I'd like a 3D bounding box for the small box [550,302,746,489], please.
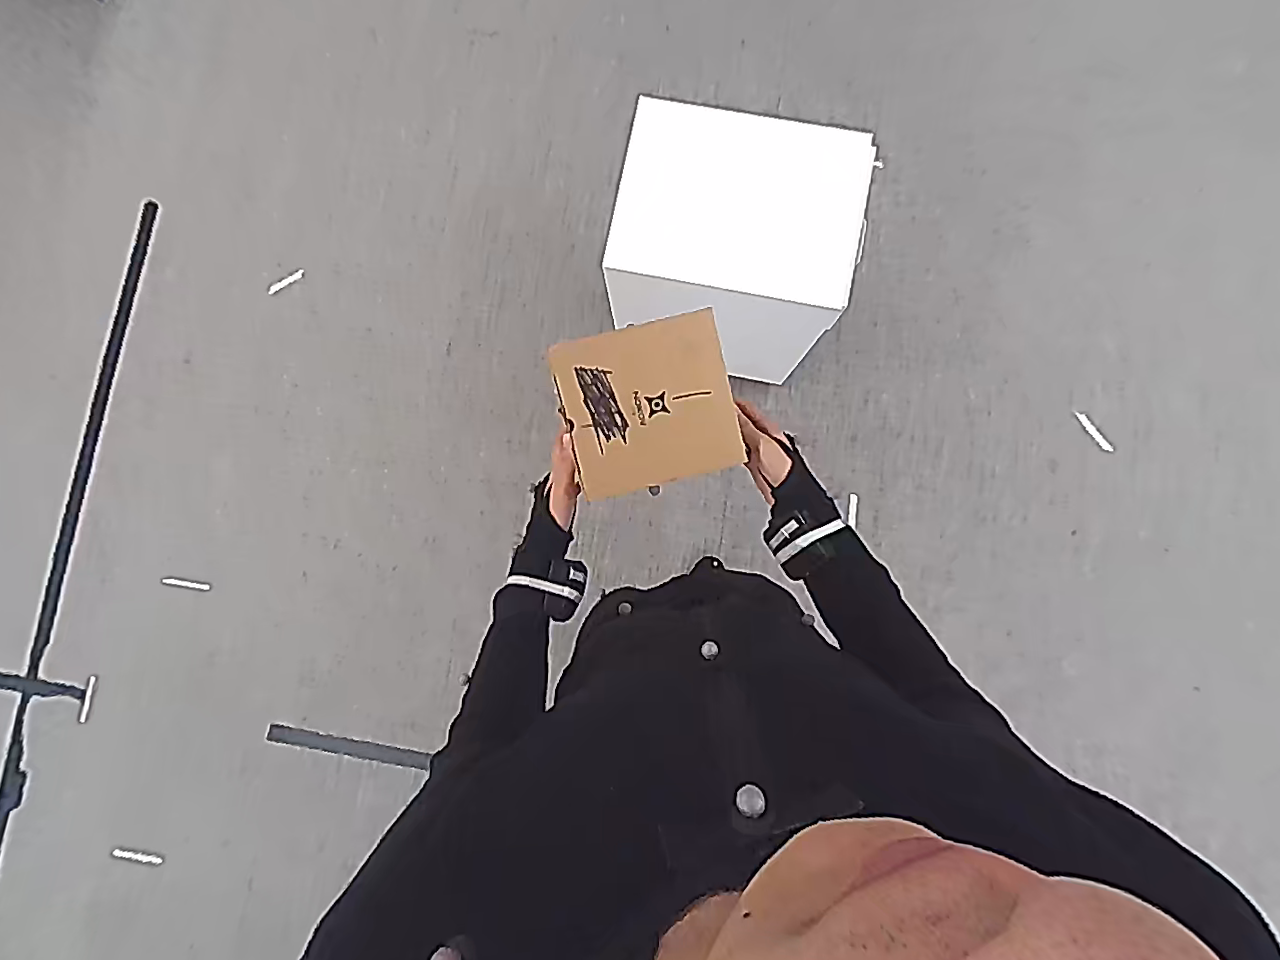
[{"bbox_3d":[0.006,-0.091,0.637,0.179,0.176,0.168,-14,95,-3],"label":"small box"}]
